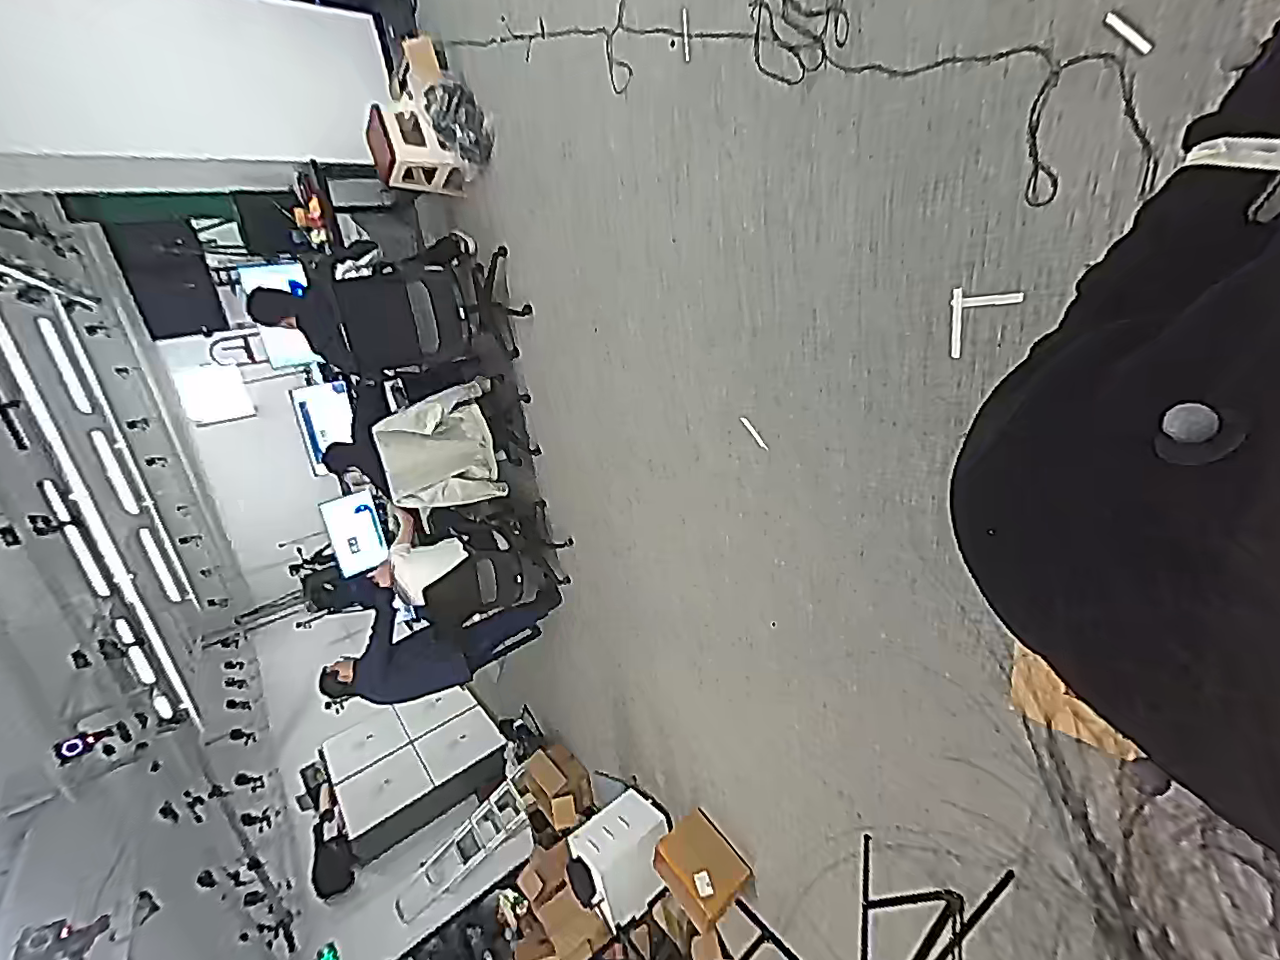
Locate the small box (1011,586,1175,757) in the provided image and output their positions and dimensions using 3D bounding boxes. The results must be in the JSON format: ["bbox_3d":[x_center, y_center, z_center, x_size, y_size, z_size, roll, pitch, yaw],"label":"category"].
[{"bbox_3d":[0.741,0.298,0.887,0.168,0.176,0.179,15,120,52],"label":"small box"}]
